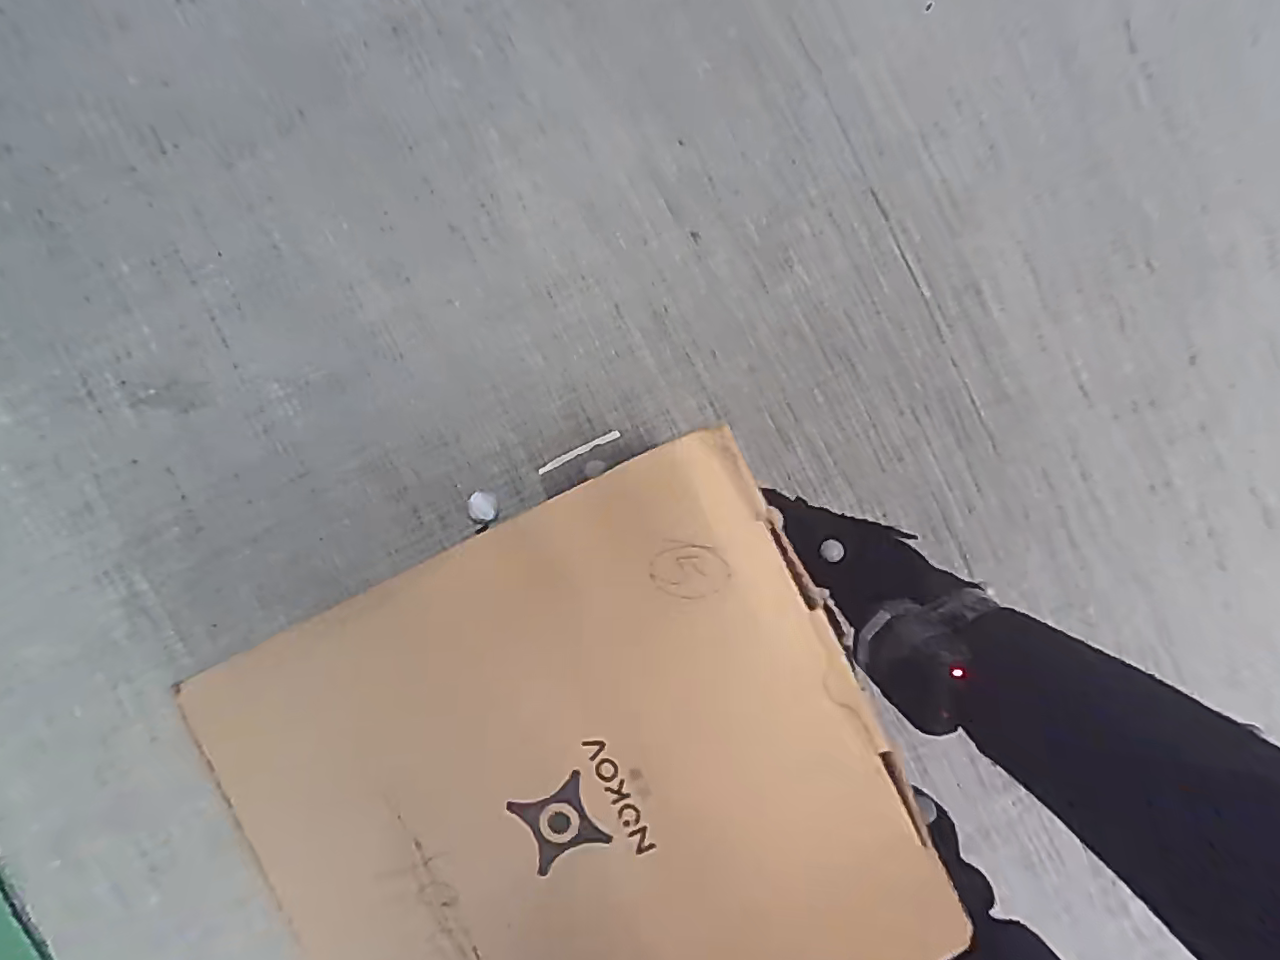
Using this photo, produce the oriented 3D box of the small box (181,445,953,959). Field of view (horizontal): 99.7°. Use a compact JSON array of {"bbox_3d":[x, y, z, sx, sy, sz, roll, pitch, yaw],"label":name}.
[{"bbox_3d":[-0.019,0.094,0.235,0.179,0.176,0.168,-27,91,3],"label":"small box"}]
